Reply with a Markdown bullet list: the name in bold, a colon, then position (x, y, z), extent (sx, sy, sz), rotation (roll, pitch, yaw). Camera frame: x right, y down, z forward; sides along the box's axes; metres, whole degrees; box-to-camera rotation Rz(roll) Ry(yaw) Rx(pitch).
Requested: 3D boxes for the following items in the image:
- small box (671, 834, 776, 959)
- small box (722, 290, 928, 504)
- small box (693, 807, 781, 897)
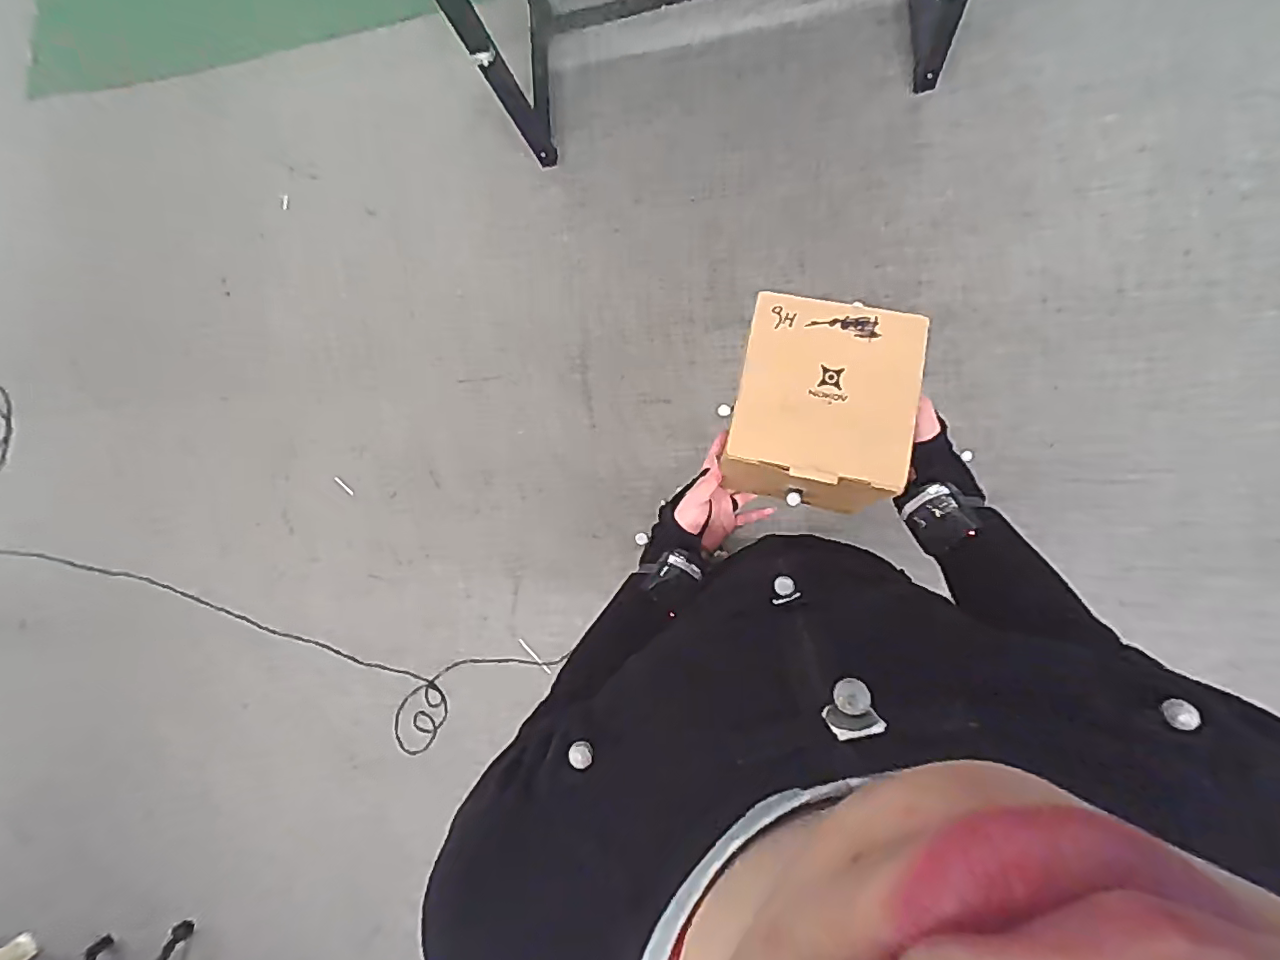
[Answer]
- **small box**: position (0.200, 0.987, 1.265), extent (0.179, 0.176, 0.168), rotation (-42, 78, 6)
- **small box**: position (0.187, -0.077, 0.596), extent (0.168, 0.176, 0.179), rotation (12, 82, 7)
- **small box**: position (0.248, 1.013, 1.421), extent (0.168, 0.176, 0.179), rotation (41, 96, 13)
